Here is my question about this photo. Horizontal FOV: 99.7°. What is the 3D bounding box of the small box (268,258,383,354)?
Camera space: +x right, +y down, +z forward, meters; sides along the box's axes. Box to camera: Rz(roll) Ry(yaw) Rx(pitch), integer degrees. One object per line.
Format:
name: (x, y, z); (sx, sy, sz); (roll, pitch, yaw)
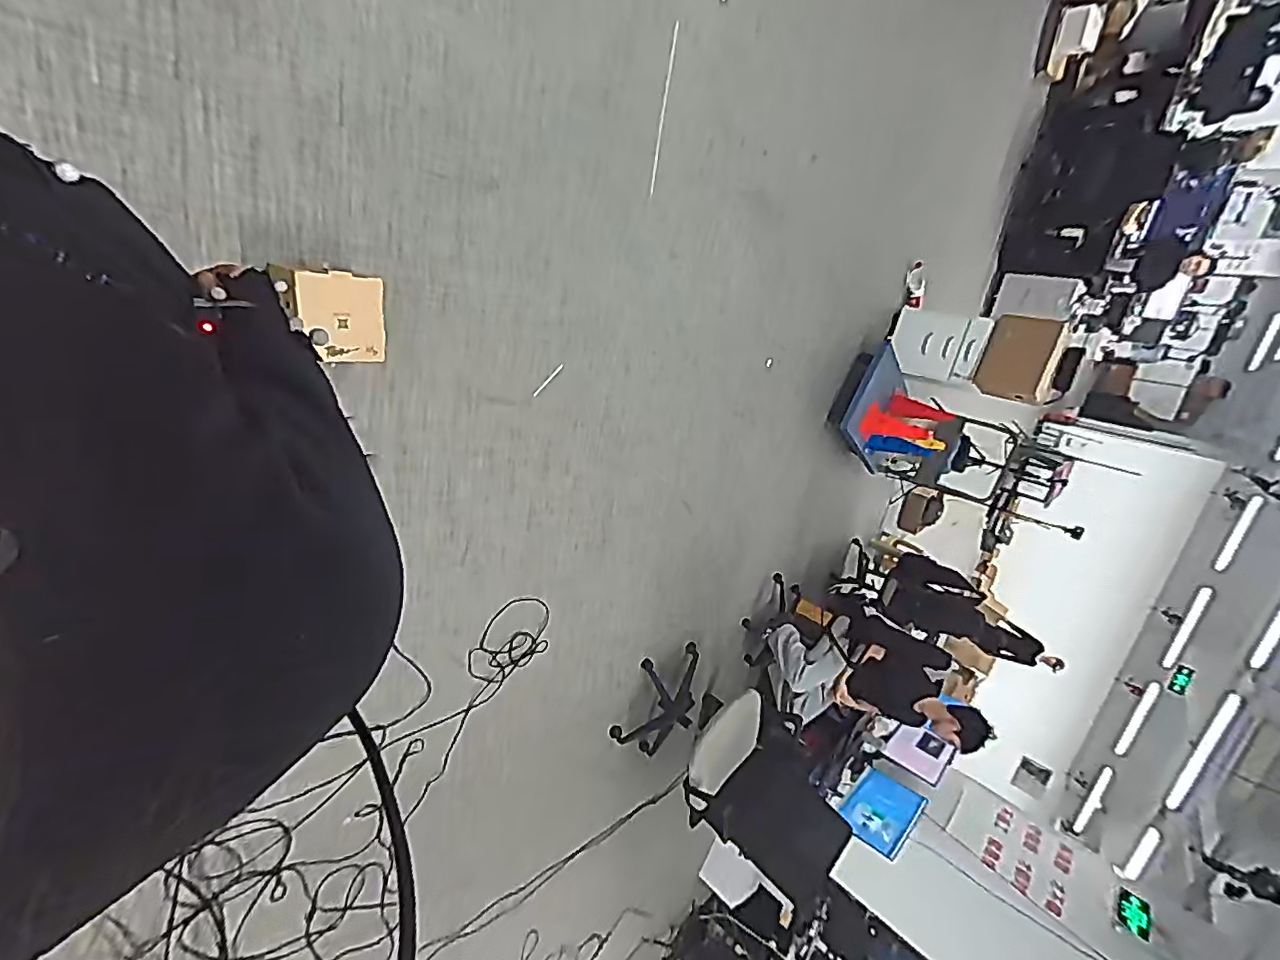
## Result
small box: (-0.664, -0.367, 1.145); (0.168, 0.176, 0.179); (-13, 119, -45)
